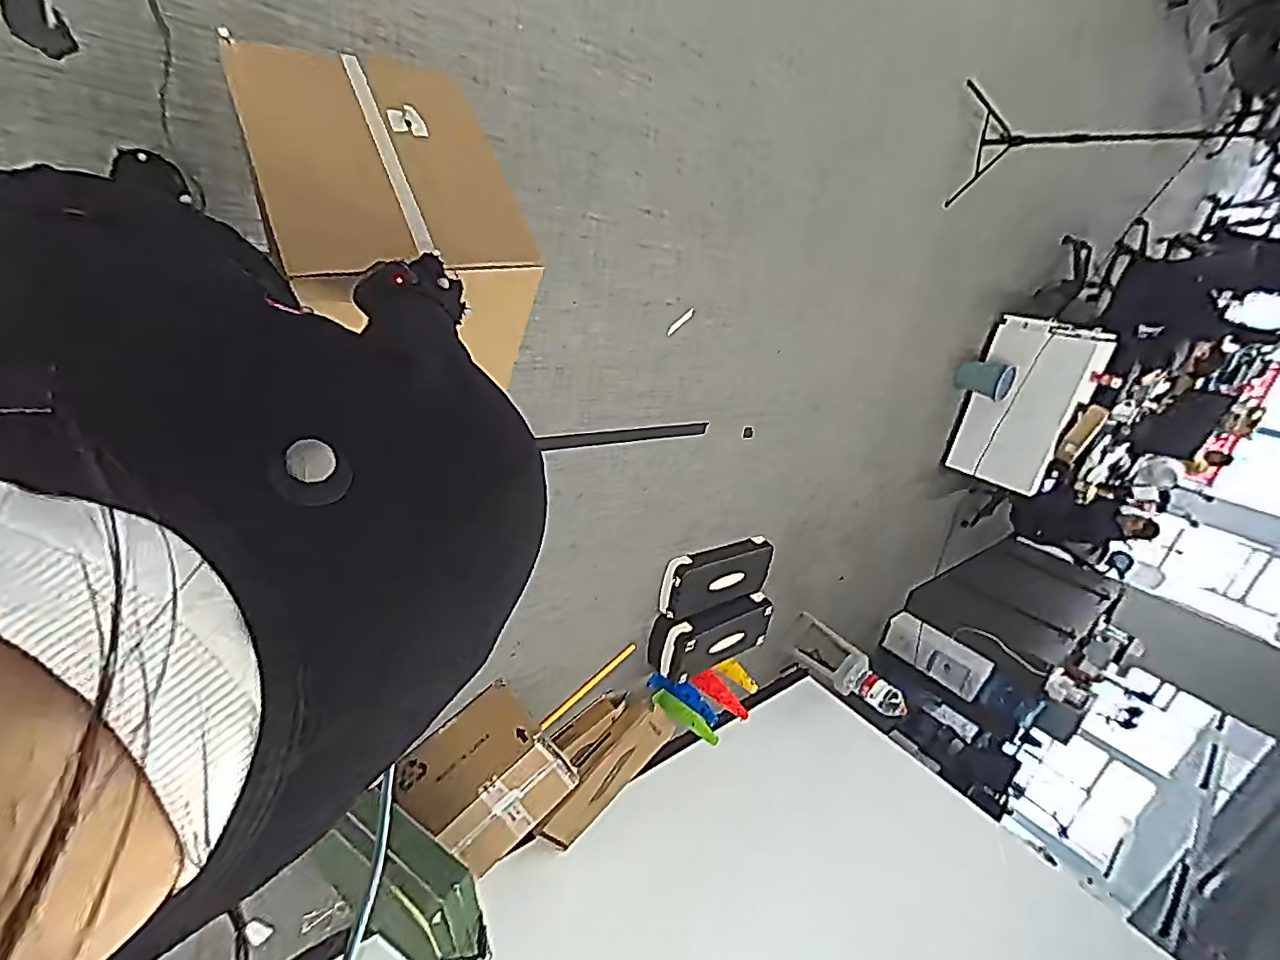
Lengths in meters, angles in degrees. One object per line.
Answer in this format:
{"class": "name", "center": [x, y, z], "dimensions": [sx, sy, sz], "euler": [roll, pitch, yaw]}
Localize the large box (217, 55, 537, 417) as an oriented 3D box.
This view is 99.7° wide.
{"class": "large box", "center": [-0.409, -0.368, 0.868], "dimensions": [0.320, 0.408, 0.320], "euler": [-16, 162, -32]}
